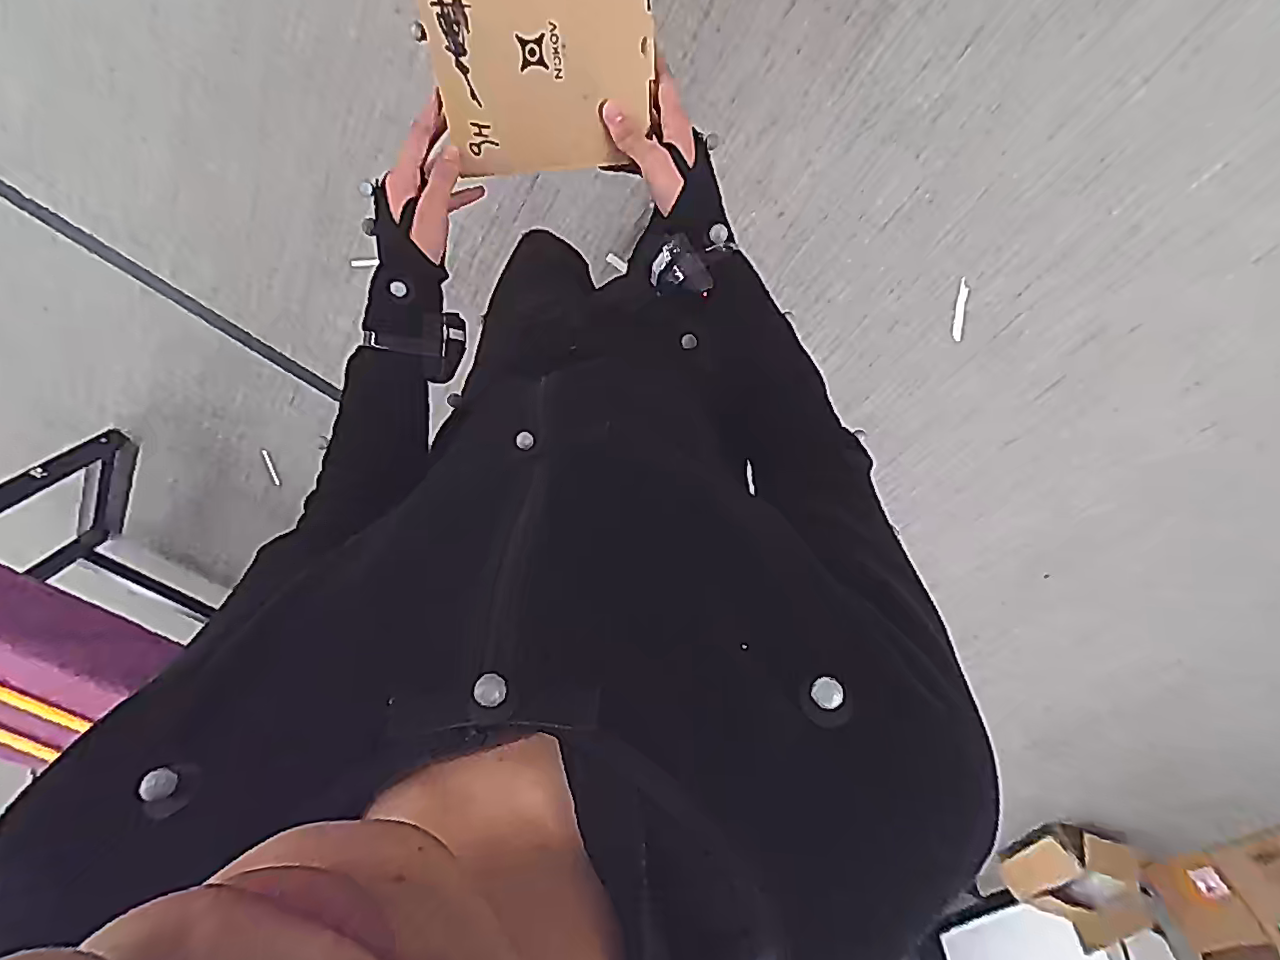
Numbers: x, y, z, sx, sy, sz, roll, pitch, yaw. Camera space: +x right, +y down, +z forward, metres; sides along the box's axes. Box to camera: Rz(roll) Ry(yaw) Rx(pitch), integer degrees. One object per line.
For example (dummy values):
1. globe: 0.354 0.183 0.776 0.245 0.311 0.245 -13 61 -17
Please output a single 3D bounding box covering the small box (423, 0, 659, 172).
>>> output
1. small box: -0.085 -0.390 0.481 0.179 0.176 0.168 -8 131 -5
